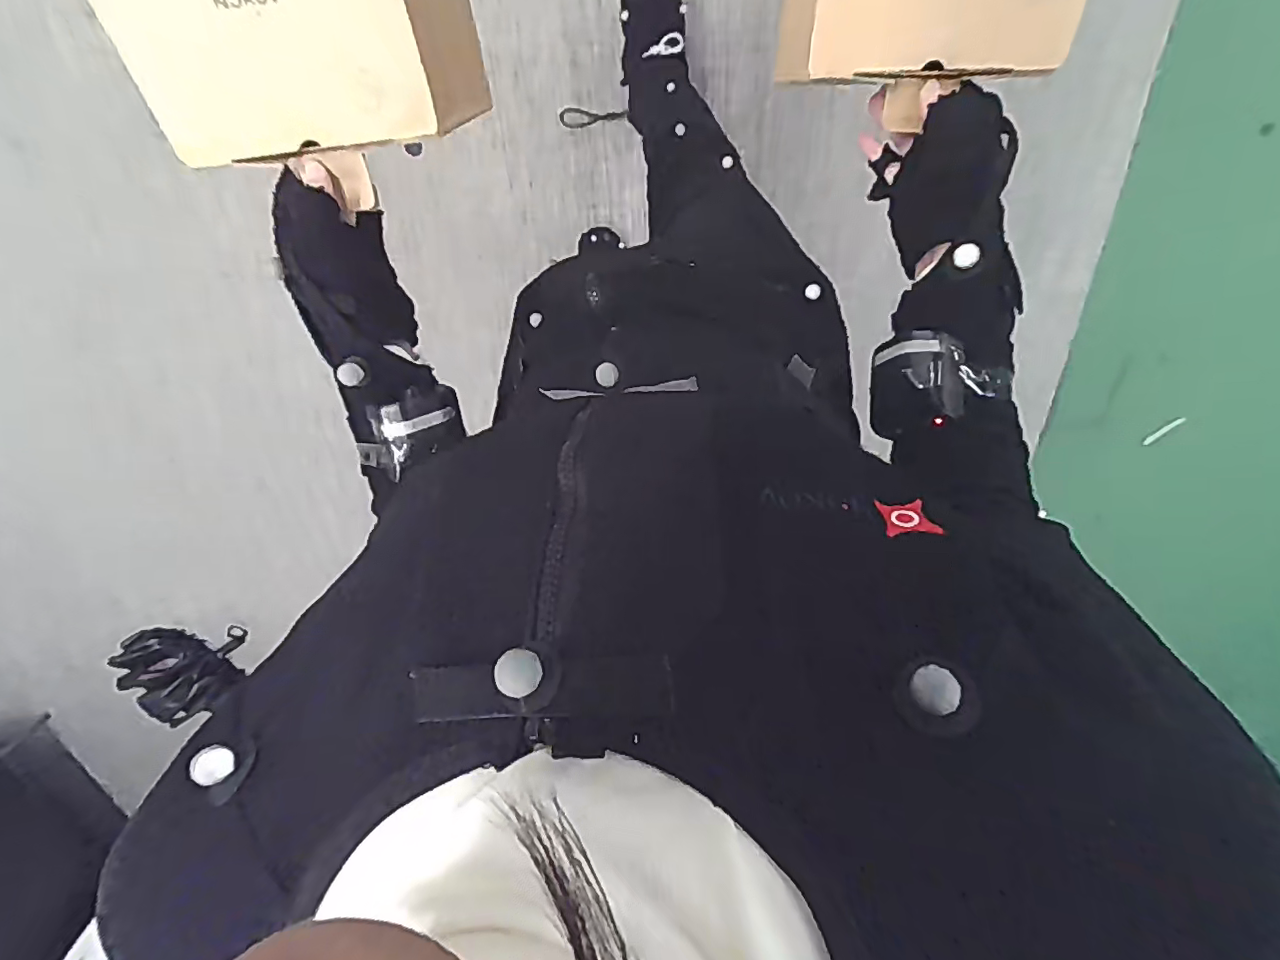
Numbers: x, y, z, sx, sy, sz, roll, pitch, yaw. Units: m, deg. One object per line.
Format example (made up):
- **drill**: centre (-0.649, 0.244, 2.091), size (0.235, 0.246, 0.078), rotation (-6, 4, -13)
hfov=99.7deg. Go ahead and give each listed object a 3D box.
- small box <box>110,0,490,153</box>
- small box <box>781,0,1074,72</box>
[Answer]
- **small box**: centre (-0.206, -0.327, 0.339), size (0.168, 0.176, 0.179), rotation (-6, 129, 2)
- **small box**: centre (0.200, -0.397, 0.380), size (0.168, 0.176, 0.179), rotation (2, 125, 4)
